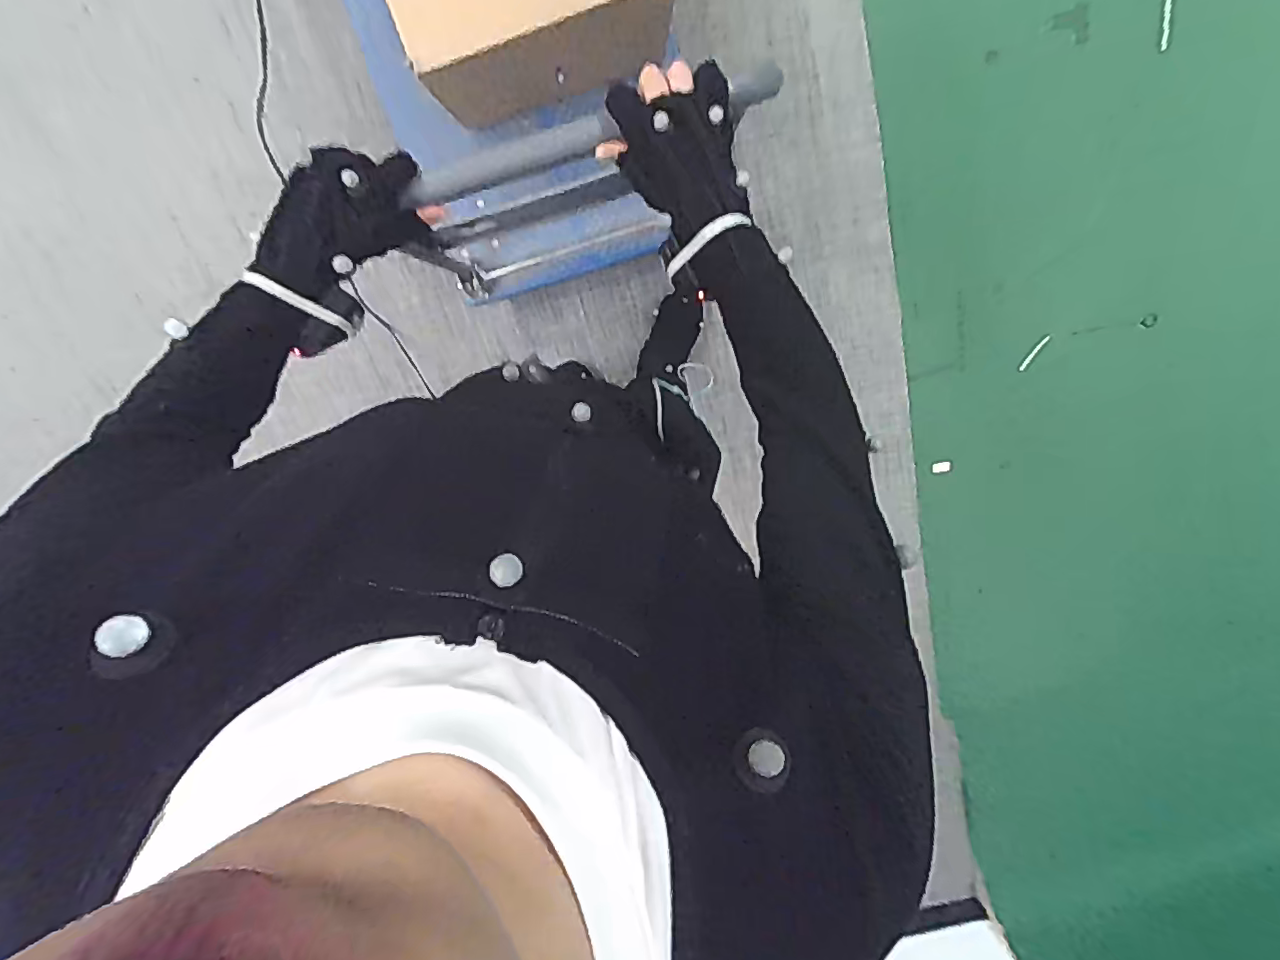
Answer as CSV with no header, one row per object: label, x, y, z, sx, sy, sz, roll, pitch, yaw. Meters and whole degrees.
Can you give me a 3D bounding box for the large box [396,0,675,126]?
large box,-0.178,-0.846,0.876,0.408,0.320,0.320,-17,108,5
